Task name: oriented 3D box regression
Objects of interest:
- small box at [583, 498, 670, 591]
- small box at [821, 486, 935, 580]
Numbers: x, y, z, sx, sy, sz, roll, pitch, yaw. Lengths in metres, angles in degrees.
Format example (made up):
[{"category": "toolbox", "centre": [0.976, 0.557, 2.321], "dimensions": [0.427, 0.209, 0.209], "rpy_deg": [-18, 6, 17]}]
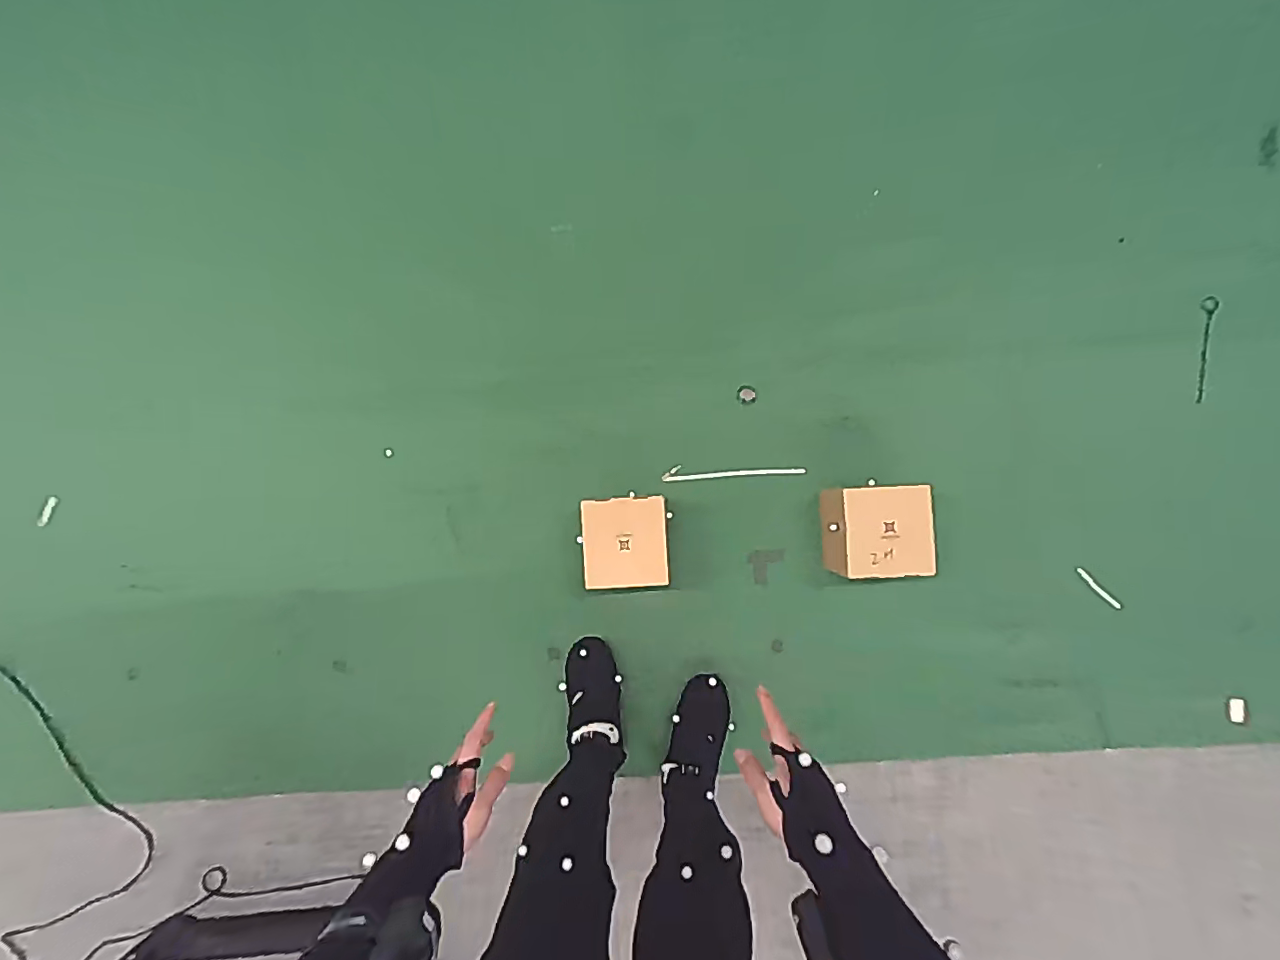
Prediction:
[{"category": "small box", "centre": [-0.023, 0.129, 1.130], "dimensions": [0.168, 0.176, 0.179], "rpy_deg": [-4, 87, 2]}, {"category": "small box", "centre": [0.478, 0.106, 1.111], "dimensions": [0.168, 0.176, 0.179], "rpy_deg": [-2, 88, 2]}]
